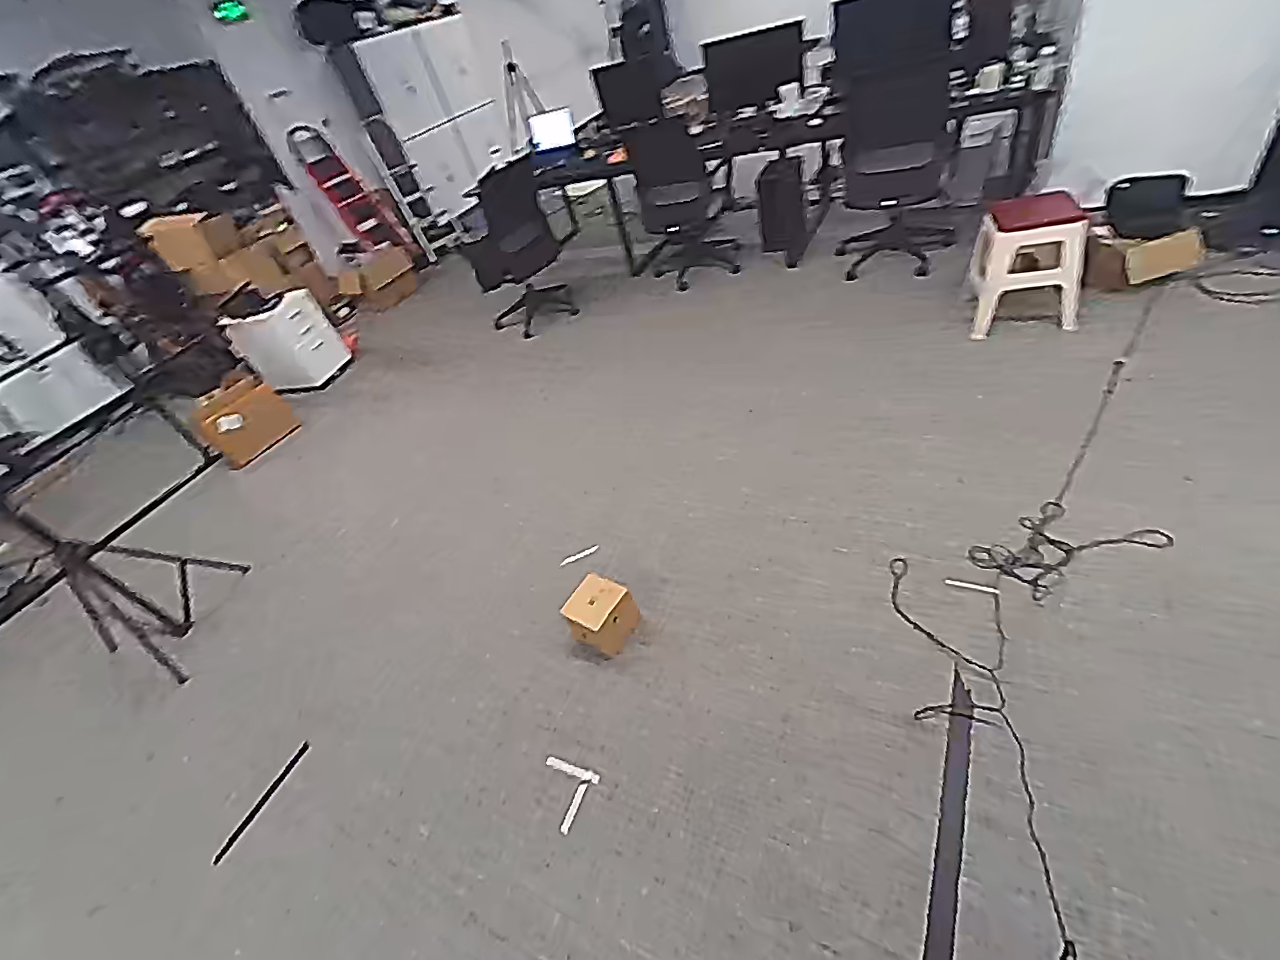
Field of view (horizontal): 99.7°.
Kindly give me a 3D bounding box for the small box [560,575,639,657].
[{"bbox_3d":[-0.126,0.451,1.782,0.168,0.176,0.179,16,52,34],"label":"small box"}]
